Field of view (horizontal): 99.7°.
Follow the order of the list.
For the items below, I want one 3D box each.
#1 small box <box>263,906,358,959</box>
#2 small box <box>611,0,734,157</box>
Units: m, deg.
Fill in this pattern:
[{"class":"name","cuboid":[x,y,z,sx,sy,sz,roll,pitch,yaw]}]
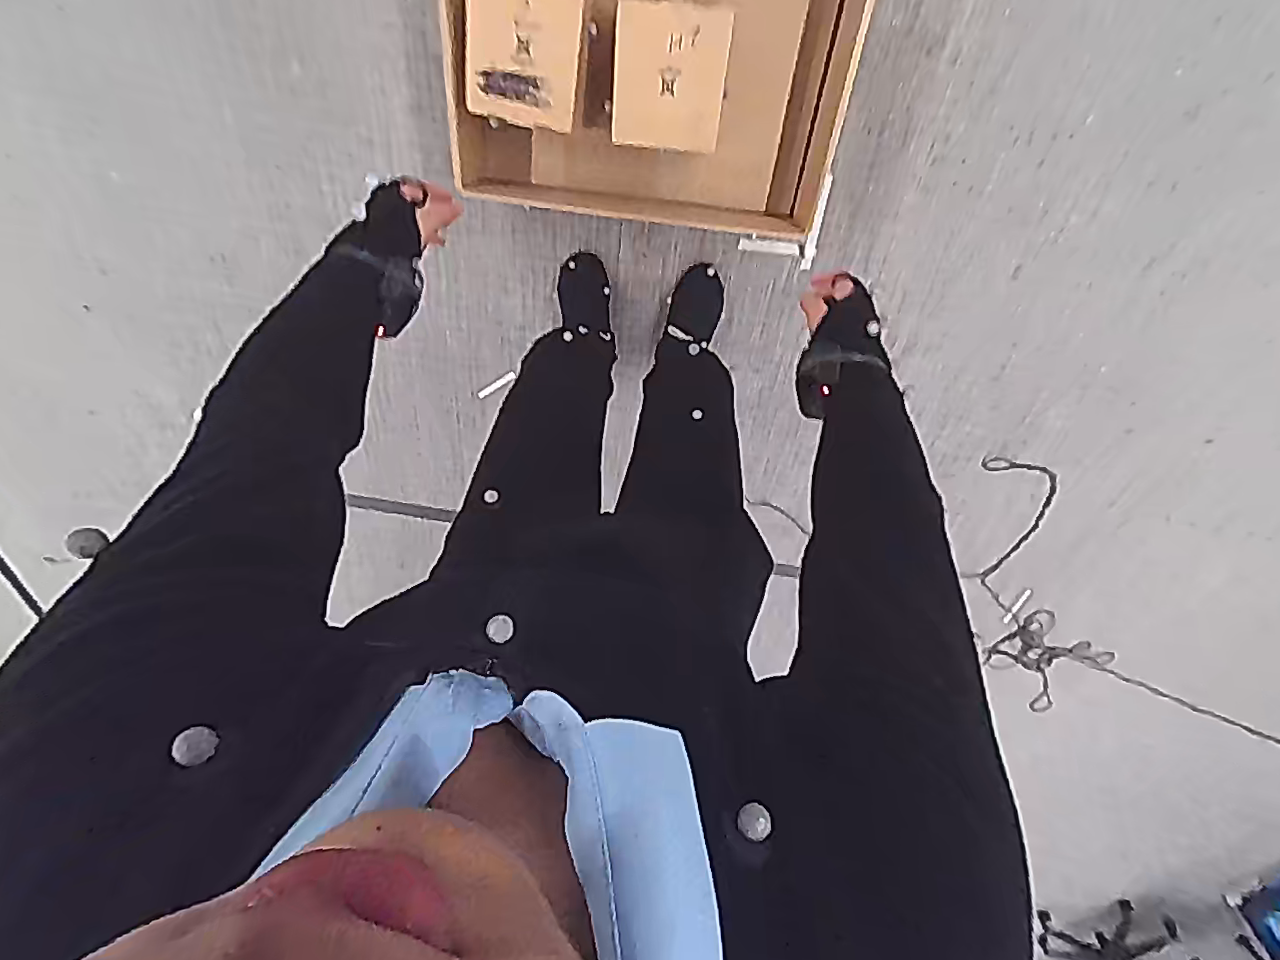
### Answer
[{"class":"small box","cuboid":[-0.846,1.227,1.380,0.168,0.176,0.179,11,126,-3]},{"class":"small box","cuboid":[0.050,-0.633,0.865,0.168,0.176,0.179,7,125,1]}]
